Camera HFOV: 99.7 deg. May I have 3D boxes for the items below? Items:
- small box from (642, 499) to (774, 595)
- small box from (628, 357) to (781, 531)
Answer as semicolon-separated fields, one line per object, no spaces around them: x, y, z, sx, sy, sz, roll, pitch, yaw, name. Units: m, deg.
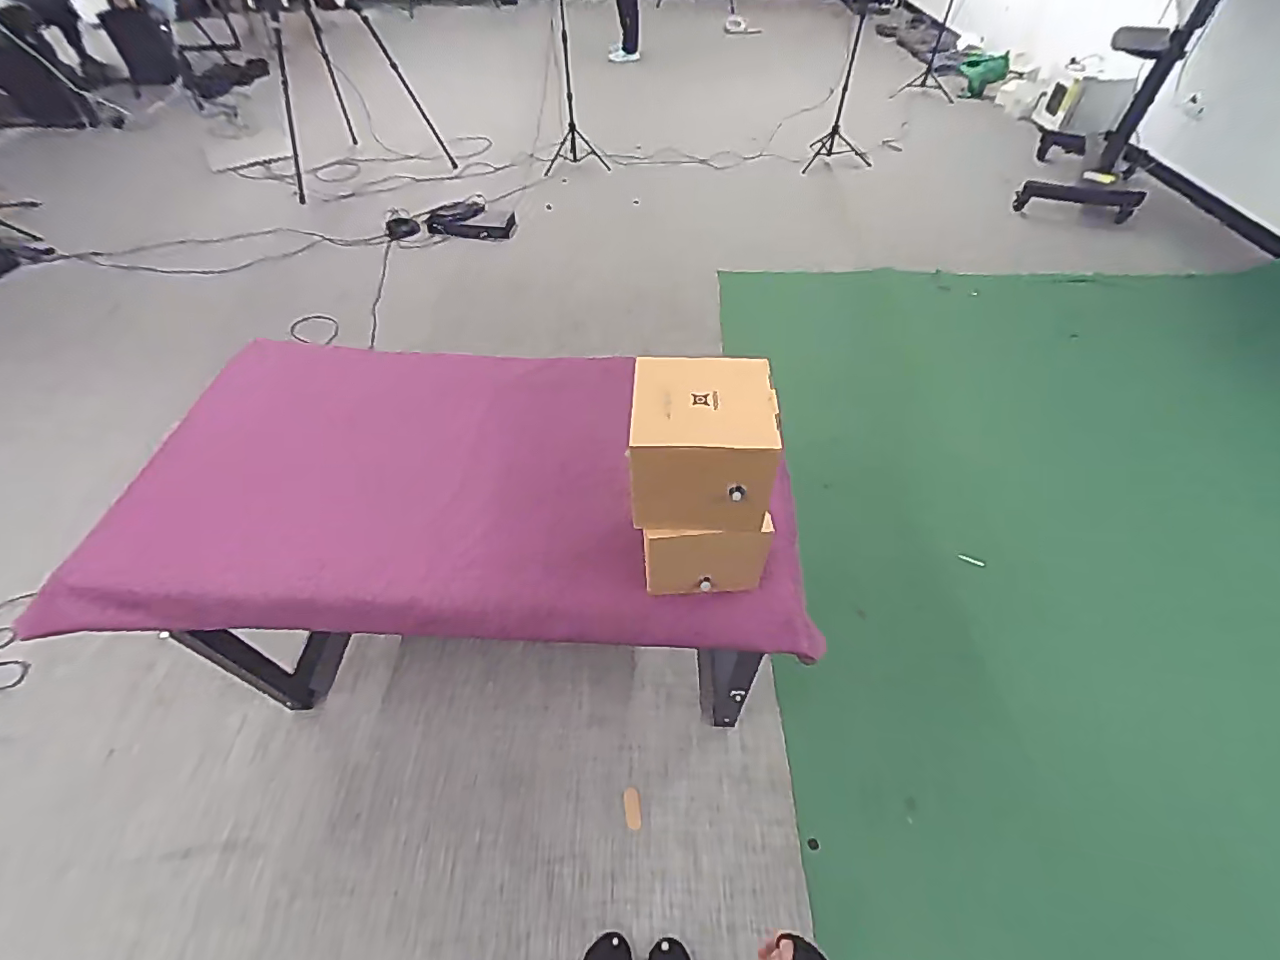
0.093;0.067;0.842;0.179;0.176;0.168;-2;50;-1;small box
0.079;-0.044;0.722;0.179;0.176;0.168;2;50;4;small box
